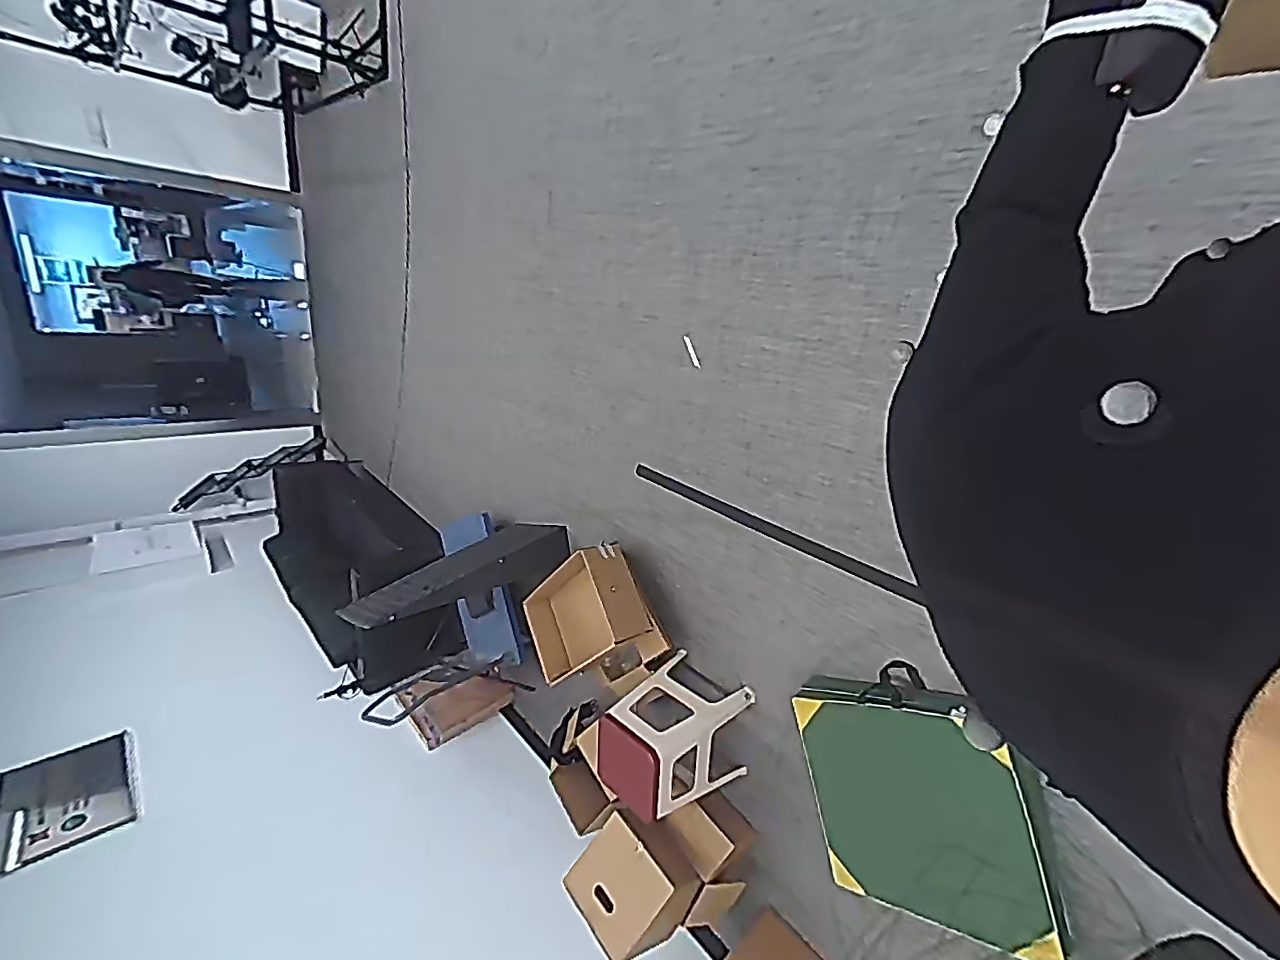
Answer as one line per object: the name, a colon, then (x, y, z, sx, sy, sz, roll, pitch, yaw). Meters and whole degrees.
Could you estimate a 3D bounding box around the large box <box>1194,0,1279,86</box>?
large box: (0.601, -0.440, 0.262, 0.408, 0.320, 0.320, 24, 121, 40)
